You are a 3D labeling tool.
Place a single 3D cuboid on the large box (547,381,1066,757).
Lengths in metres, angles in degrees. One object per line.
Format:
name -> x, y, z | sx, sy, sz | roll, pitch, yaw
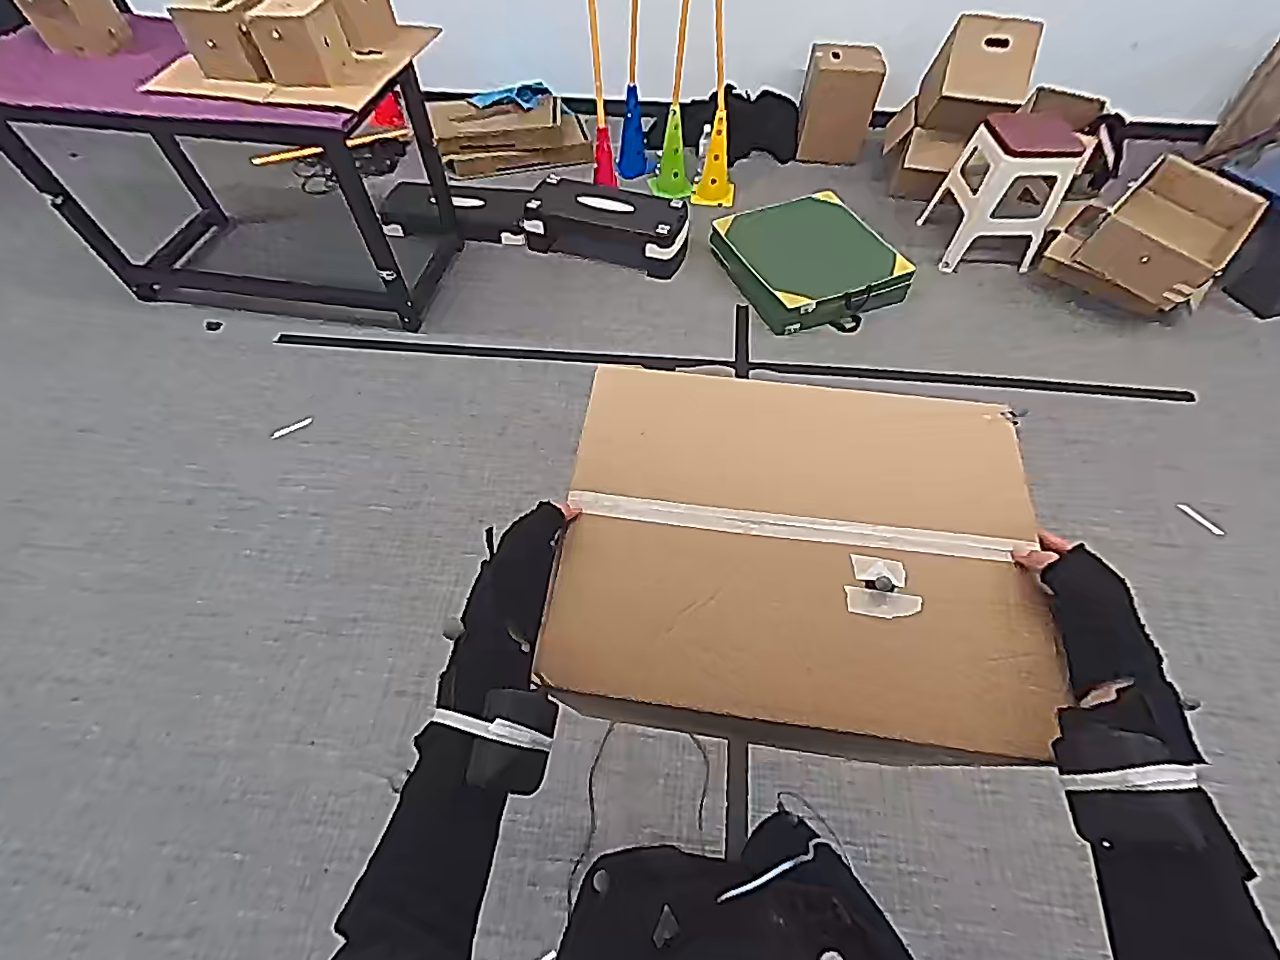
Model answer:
large box -> 0.138, 0.118, 0.611 | 0.408, 0.320, 0.320 | 6, 64, 4
